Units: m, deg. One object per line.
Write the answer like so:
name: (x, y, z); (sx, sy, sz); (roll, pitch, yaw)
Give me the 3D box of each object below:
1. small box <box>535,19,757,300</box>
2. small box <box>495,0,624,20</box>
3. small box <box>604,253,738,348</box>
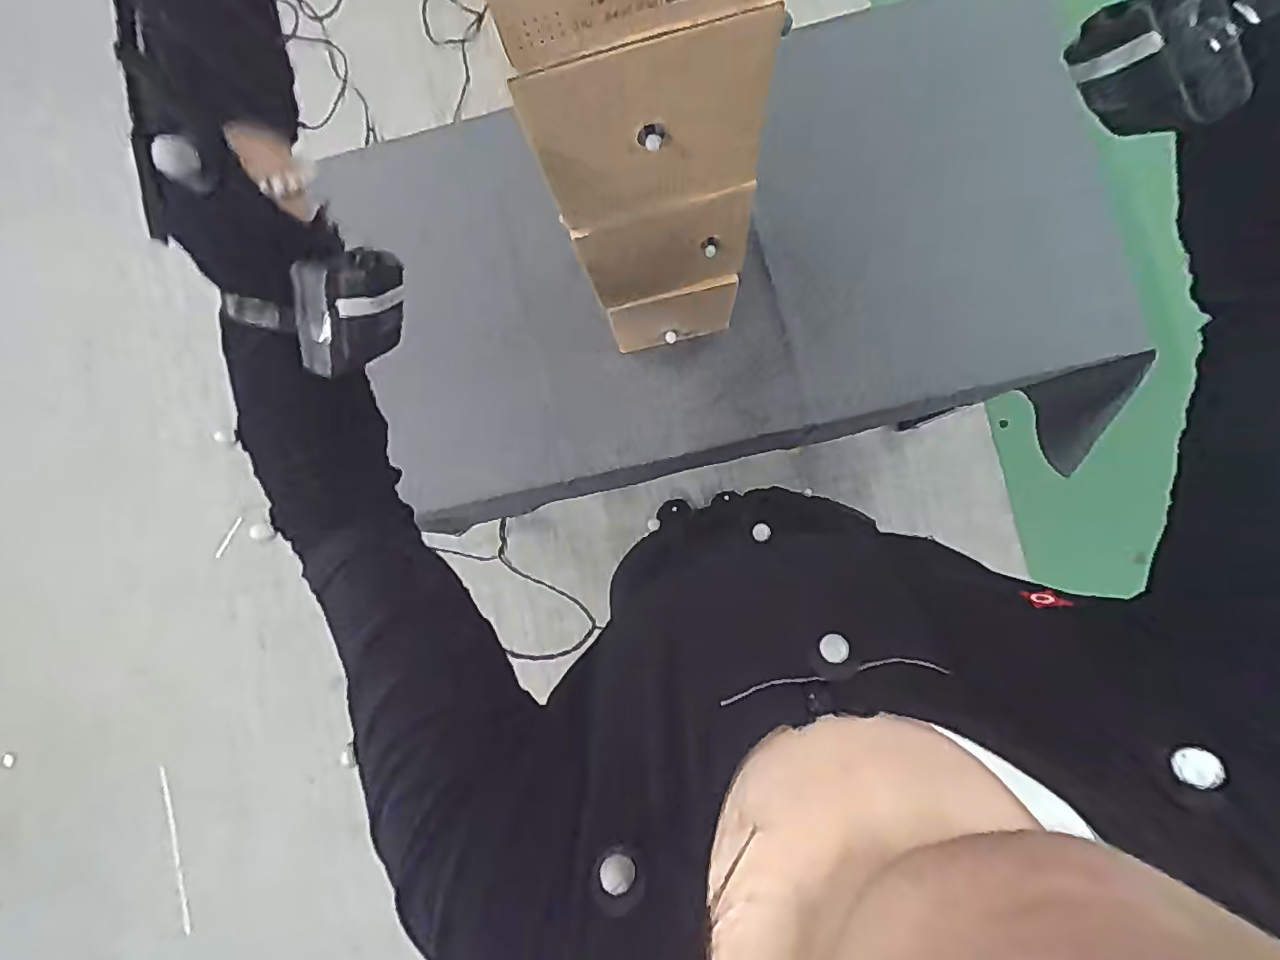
small box: (0.009, -0.317, 0.570); (0.179, 0.176, 0.168); (-14, 83, 4)
small box: (-0.027, -0.365, 0.248); (0.168, 0.176, 0.179); (-13, 84, 4)
small box: (0.028, -0.301, 0.731); (0.168, 0.176, 0.179); (-12, 85, 4)
